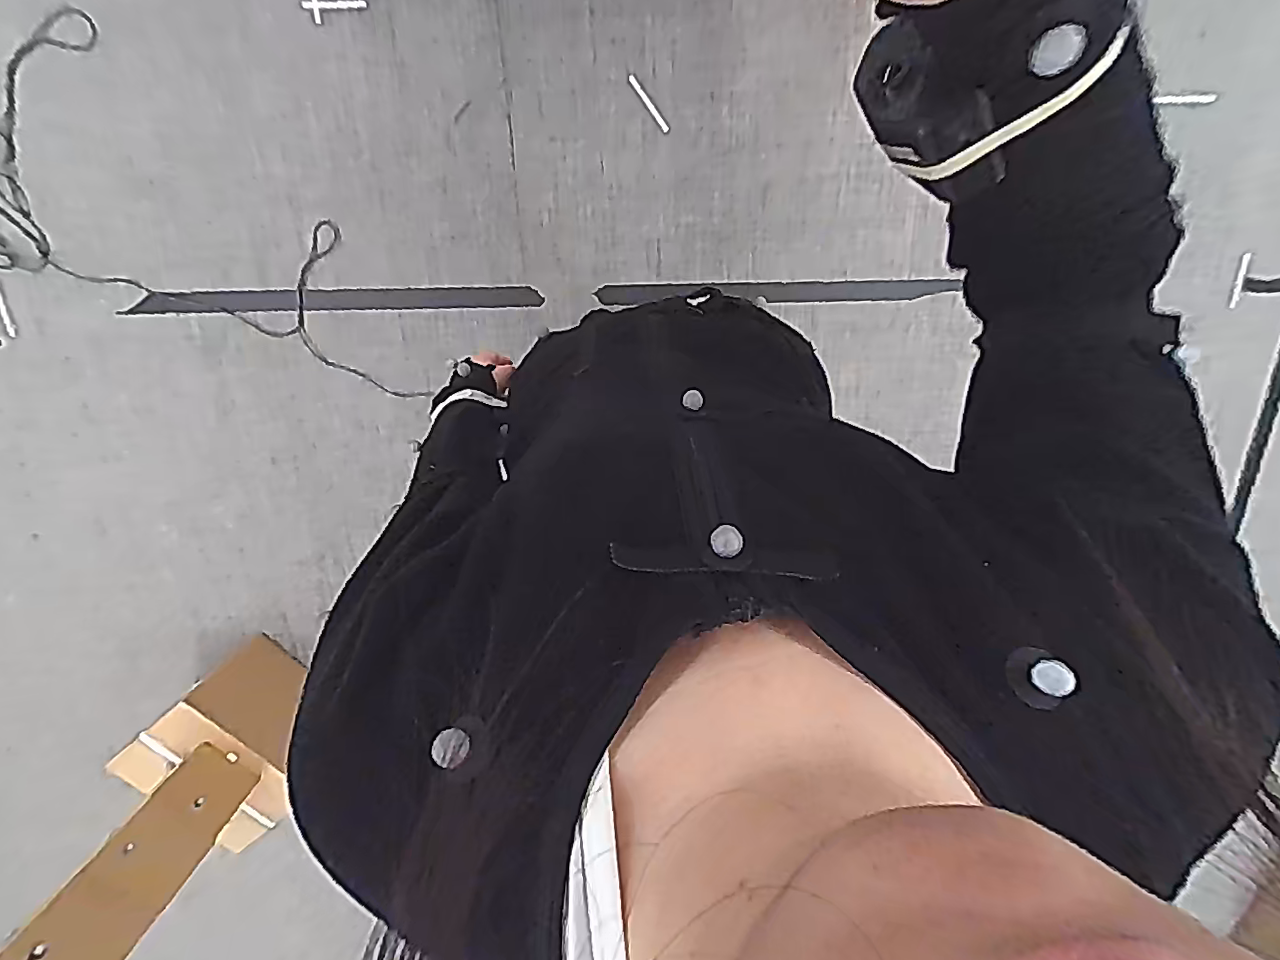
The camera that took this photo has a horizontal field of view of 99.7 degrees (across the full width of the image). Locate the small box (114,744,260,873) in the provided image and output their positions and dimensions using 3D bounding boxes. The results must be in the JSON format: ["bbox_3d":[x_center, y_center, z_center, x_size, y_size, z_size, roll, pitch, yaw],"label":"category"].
[{"bbox_3d":[-1.085,0.789,1.313,0.168,0.176,0.179,-42,103,9],"label":"small box"}]

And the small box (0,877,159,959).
[{"bbox_3d":[-1.069,0.883,0.997,0.168,0.176,0.179,-41,104,10],"label":"small box"}]
